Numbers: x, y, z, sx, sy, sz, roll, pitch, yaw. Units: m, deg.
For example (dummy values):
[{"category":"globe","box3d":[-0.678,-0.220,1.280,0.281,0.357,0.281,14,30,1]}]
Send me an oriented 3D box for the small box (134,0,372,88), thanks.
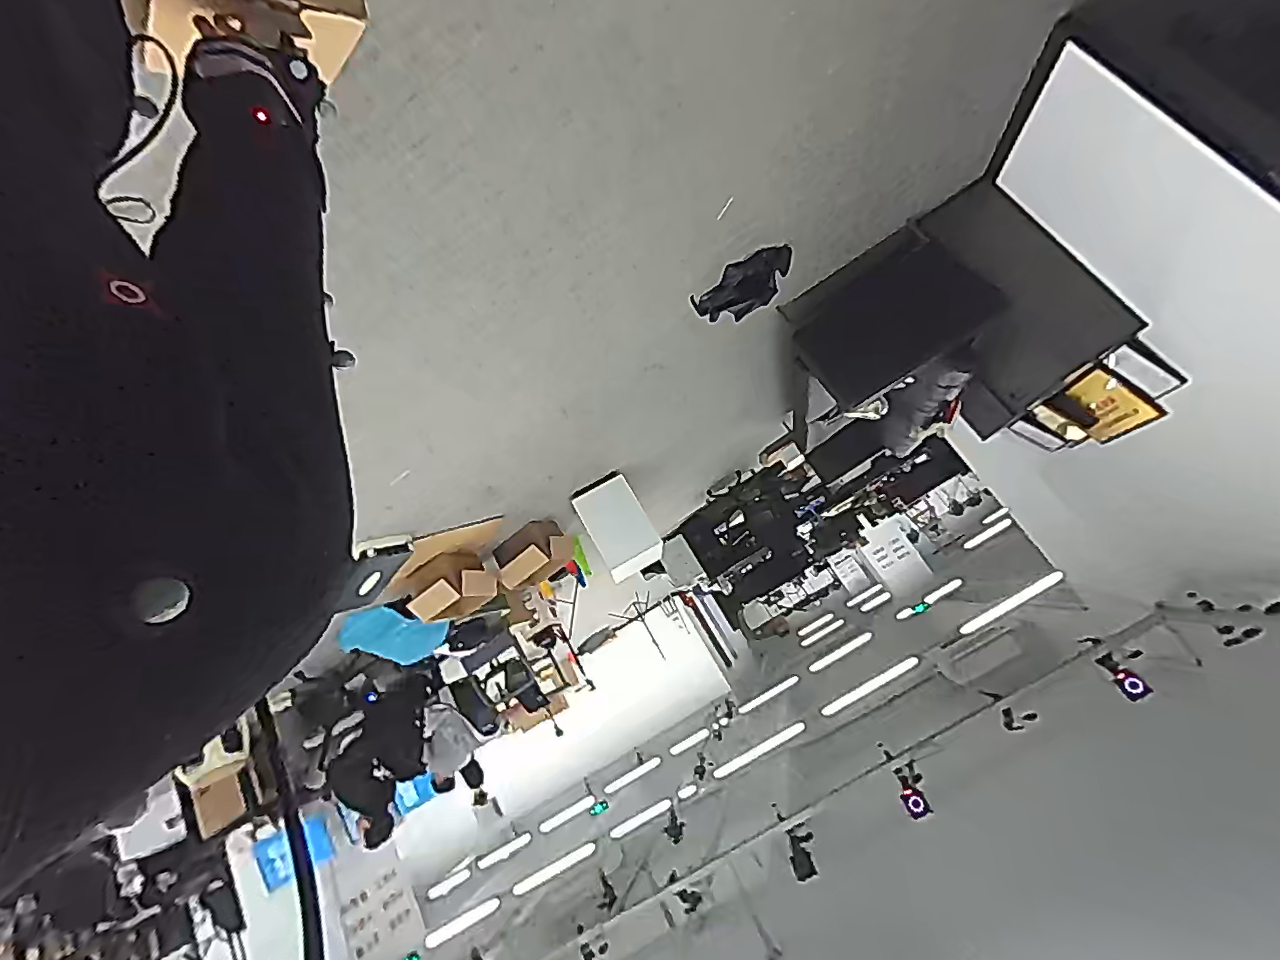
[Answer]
[{"category":"small box","box3d":[-0.383,-0.514,0.511,0.168,0.179,0.176,-20,-164,-42]}]
